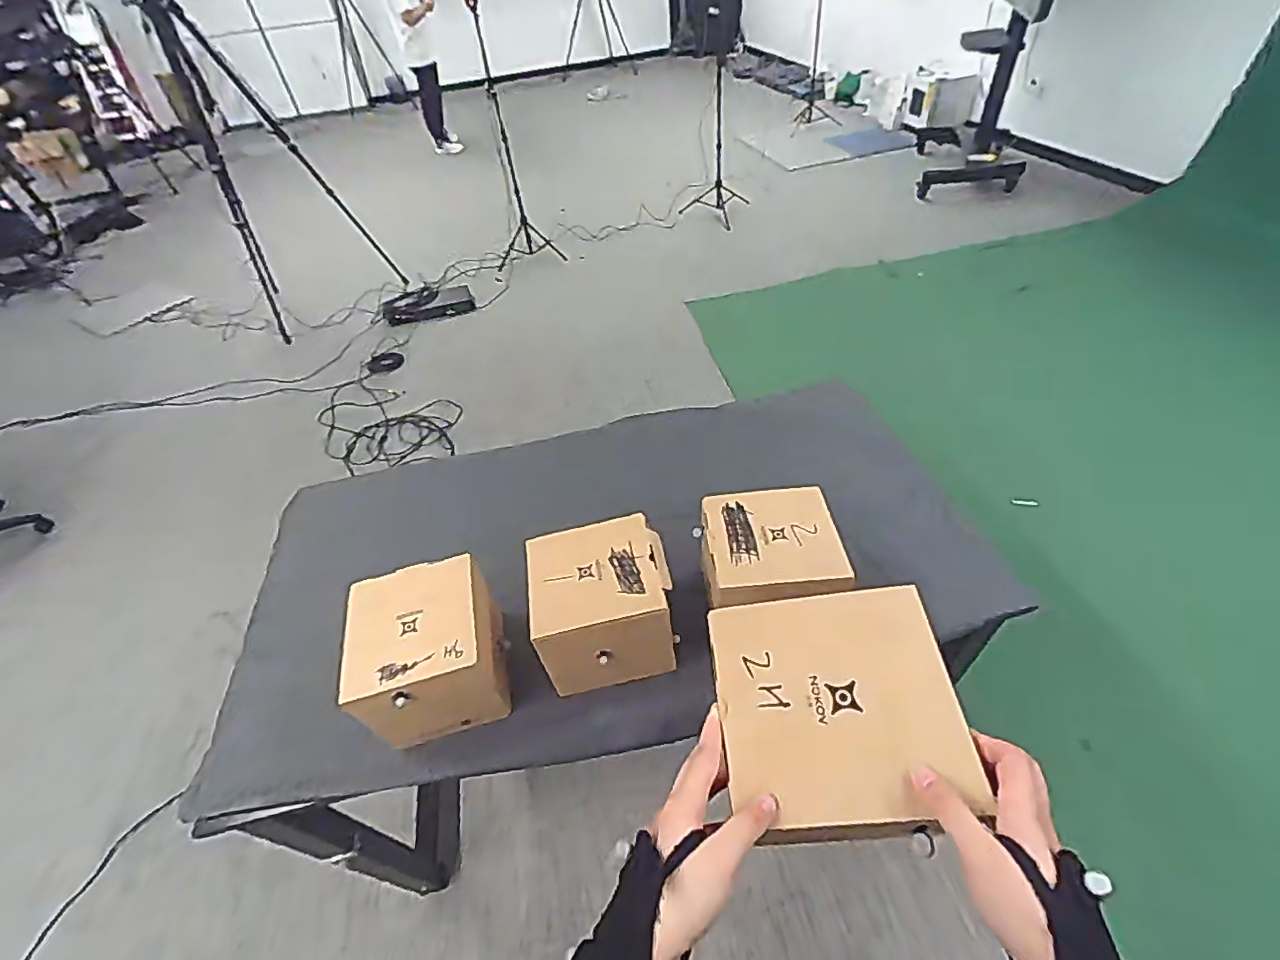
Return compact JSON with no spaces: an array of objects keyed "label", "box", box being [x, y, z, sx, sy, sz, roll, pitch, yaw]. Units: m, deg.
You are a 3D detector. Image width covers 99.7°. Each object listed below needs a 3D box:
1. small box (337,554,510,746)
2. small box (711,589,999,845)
[{"label":"small box","box":[-0.288,0.237,0.754,0.168,0.176,0.179,-15,46,-5]},{"label":"small box","box":[0.164,0.212,0.468,0.179,0.176,0.168,-9,52,10]}]
